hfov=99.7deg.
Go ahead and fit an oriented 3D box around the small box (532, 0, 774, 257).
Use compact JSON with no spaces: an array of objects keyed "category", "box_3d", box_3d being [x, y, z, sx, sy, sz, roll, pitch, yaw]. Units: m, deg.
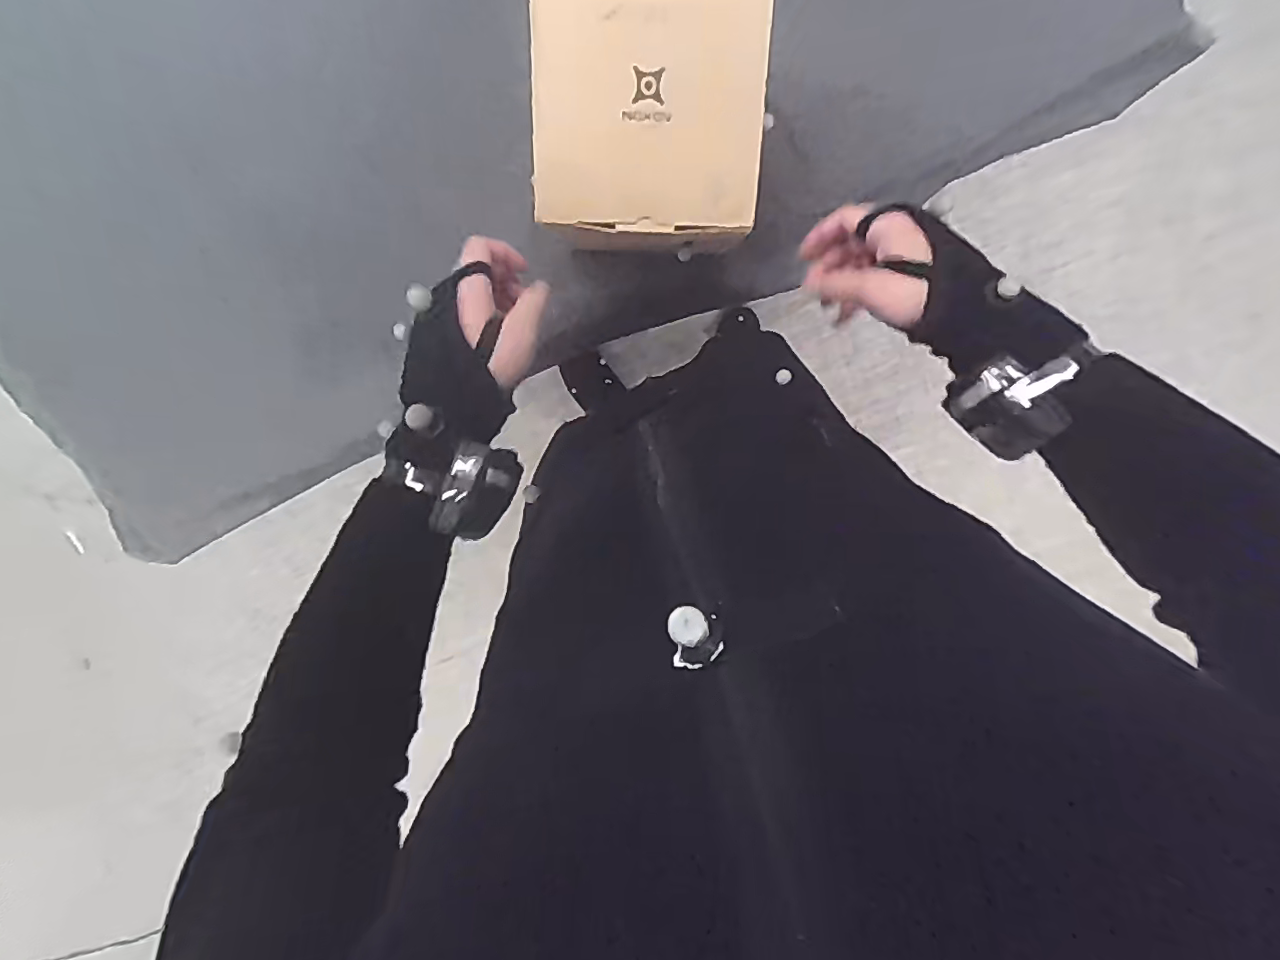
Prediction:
[{"category":"small box","box_3d":[0.007,-0.289,0.455,0.168,0.176,0.179,1,106,-1]}]
